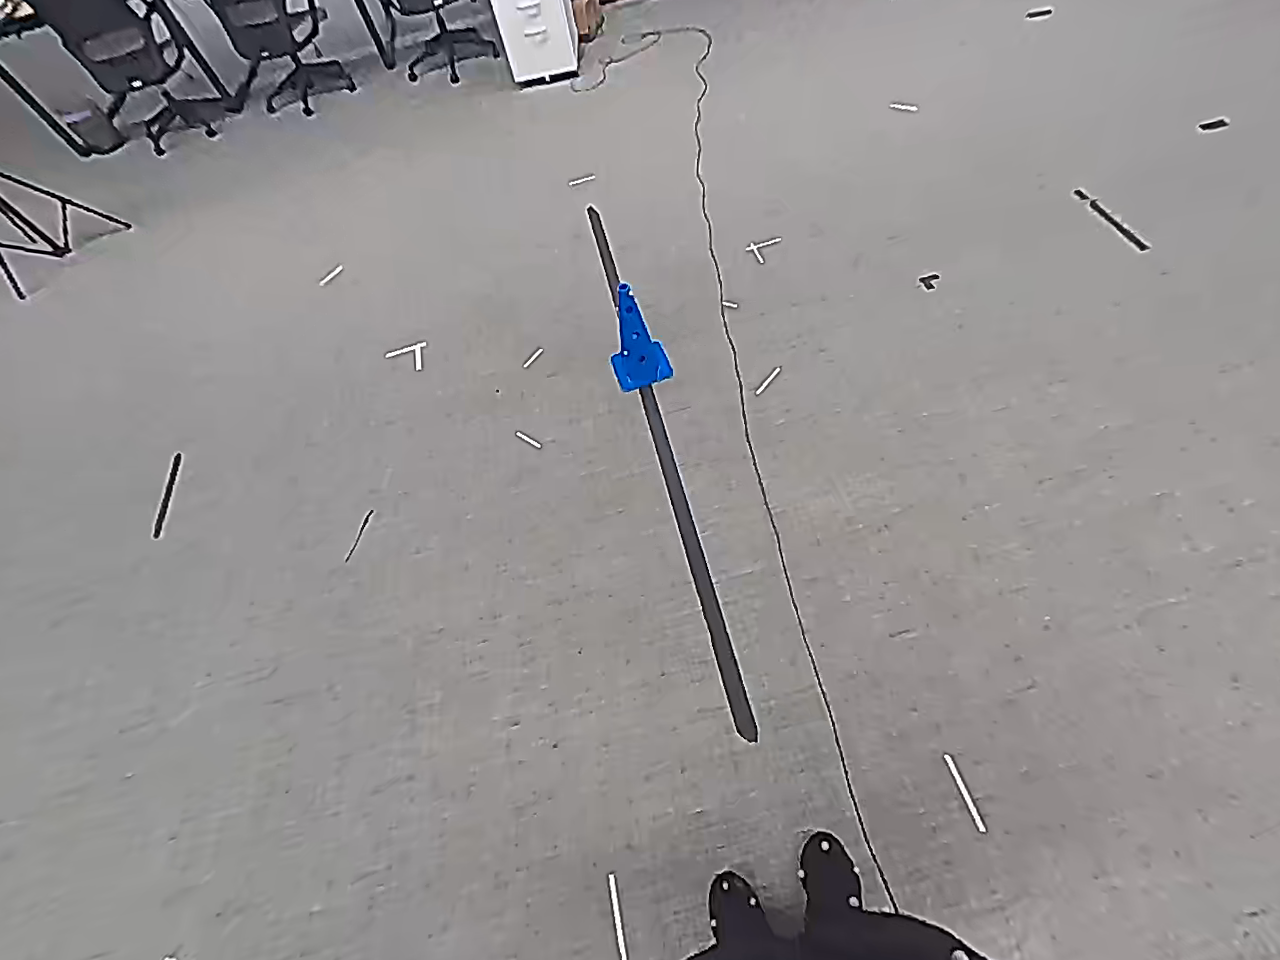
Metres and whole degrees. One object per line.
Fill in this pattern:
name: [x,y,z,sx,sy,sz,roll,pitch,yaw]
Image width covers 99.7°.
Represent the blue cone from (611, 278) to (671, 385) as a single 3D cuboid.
blue cone: [-0.031,-0.521,1.845,0.192,0.380,0.193,-20,56,-2]
